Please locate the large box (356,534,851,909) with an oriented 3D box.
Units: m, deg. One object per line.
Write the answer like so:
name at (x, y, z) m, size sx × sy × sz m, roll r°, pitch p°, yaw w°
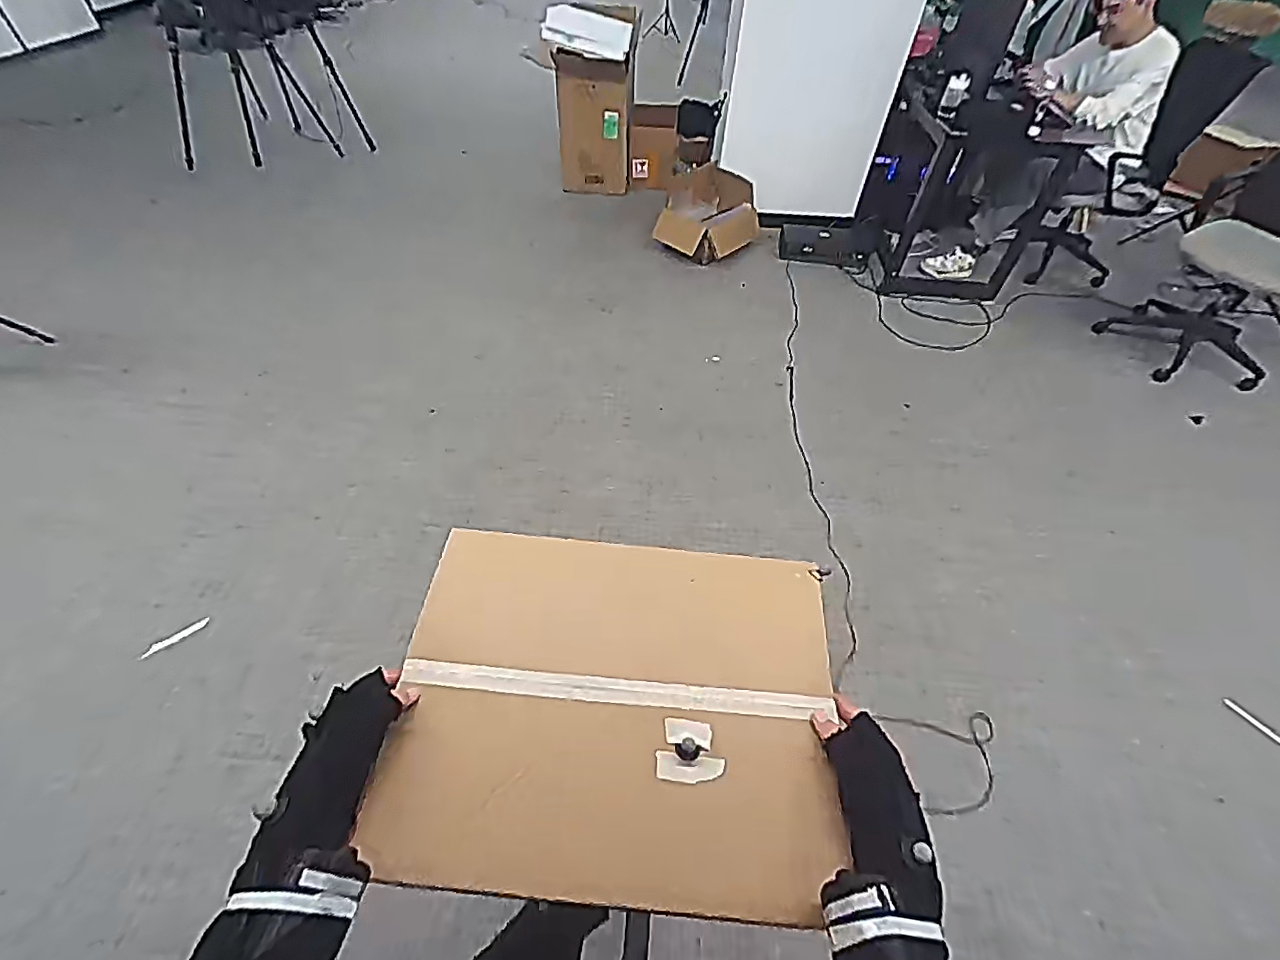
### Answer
large box at (-0.027, 0.288, 0.633) m, size 0.408 × 0.320 × 0.320 m, roll 6°, pitch 53°, yaw 1°
